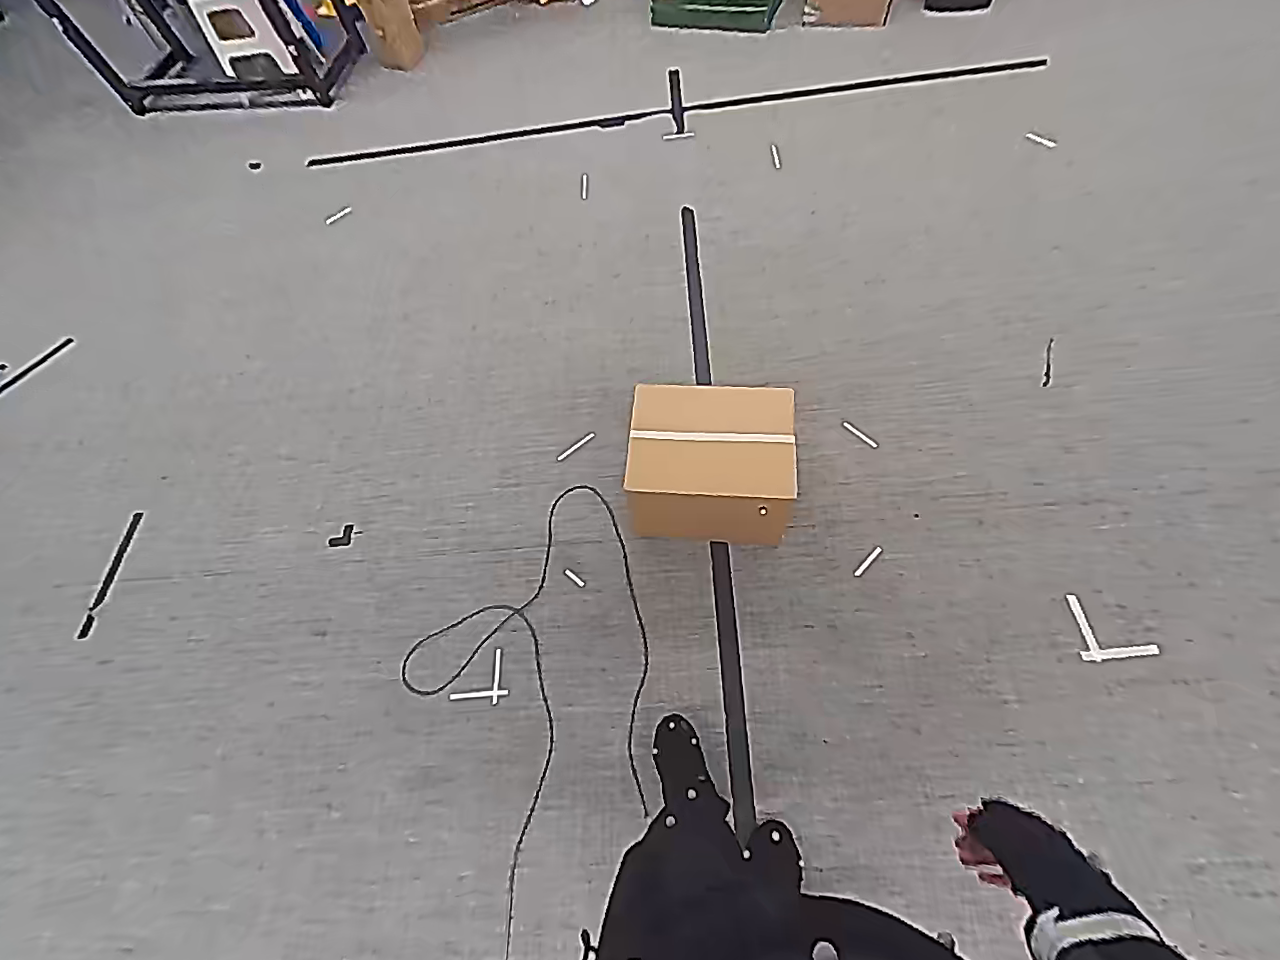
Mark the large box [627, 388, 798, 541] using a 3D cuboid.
[{"bbox_3d":[0.191,-0.033,1.451,0.408,0.320,0.320,3,63,7],"label":"large box"}]
